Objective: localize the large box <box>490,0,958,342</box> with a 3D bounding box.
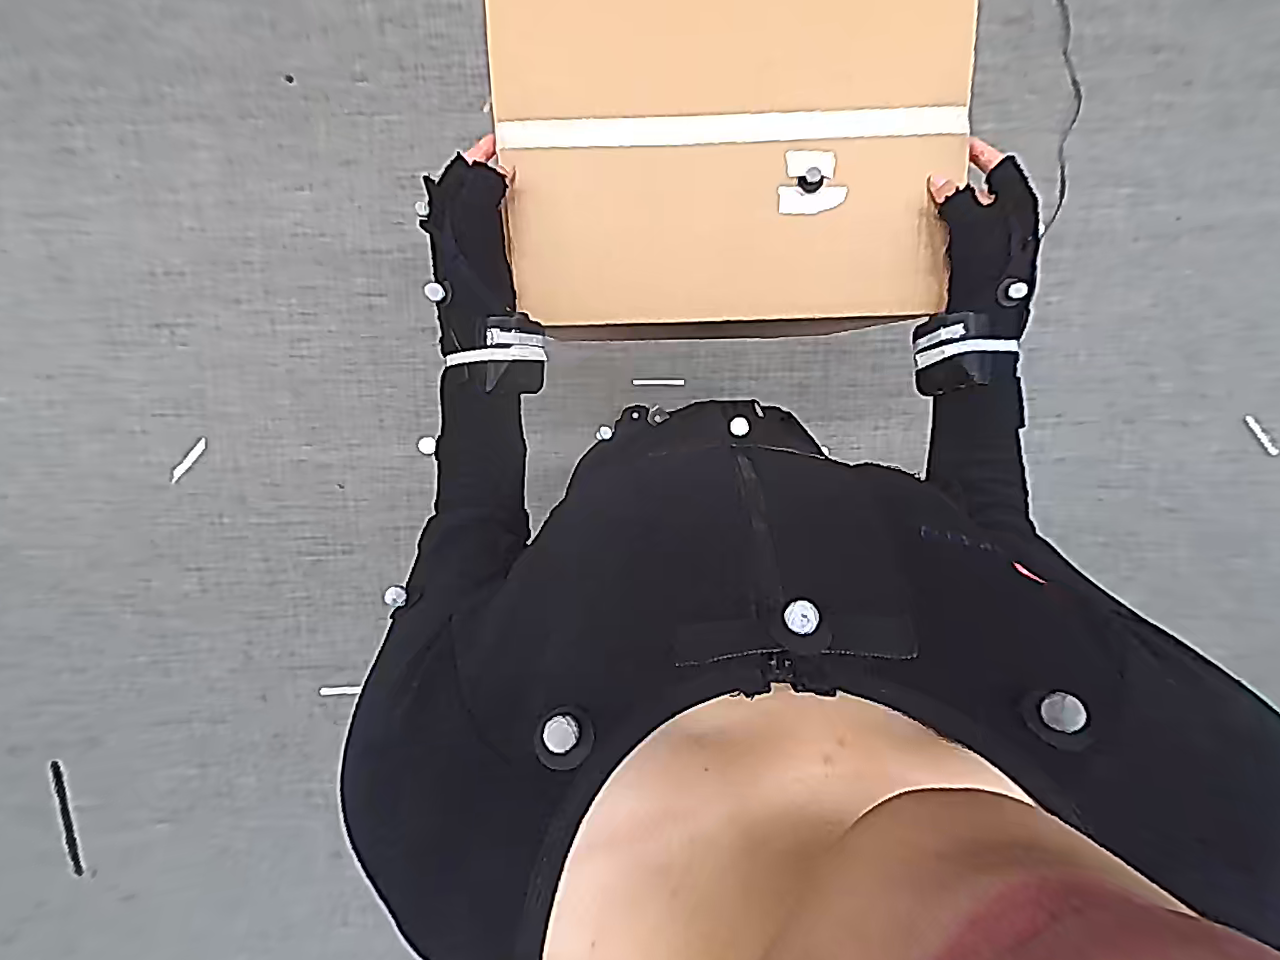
[{"bbox_3d":[0.072,-0.335,0.623,0.408,0.320,0.320,-2,102,-1],"label":"large box"}]
